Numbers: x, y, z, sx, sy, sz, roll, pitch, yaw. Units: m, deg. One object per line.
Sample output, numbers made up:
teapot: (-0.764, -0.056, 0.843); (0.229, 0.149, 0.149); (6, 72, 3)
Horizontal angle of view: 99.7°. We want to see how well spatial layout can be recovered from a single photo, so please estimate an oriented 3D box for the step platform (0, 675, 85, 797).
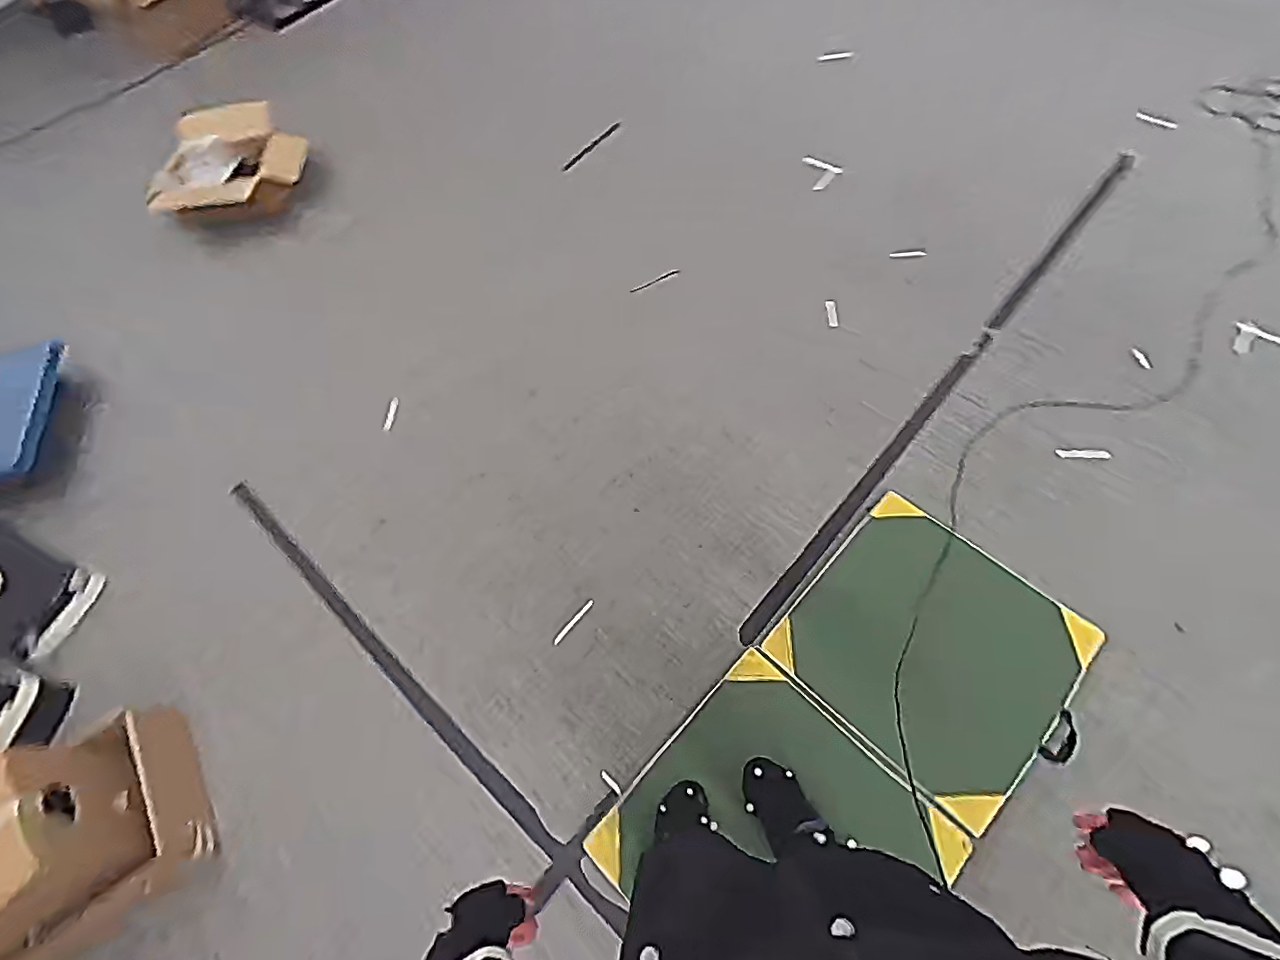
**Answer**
step platform: (-1.964, 0.660, 1.507); (0.684, 0.204, 0.286); (9, 65, 10)
